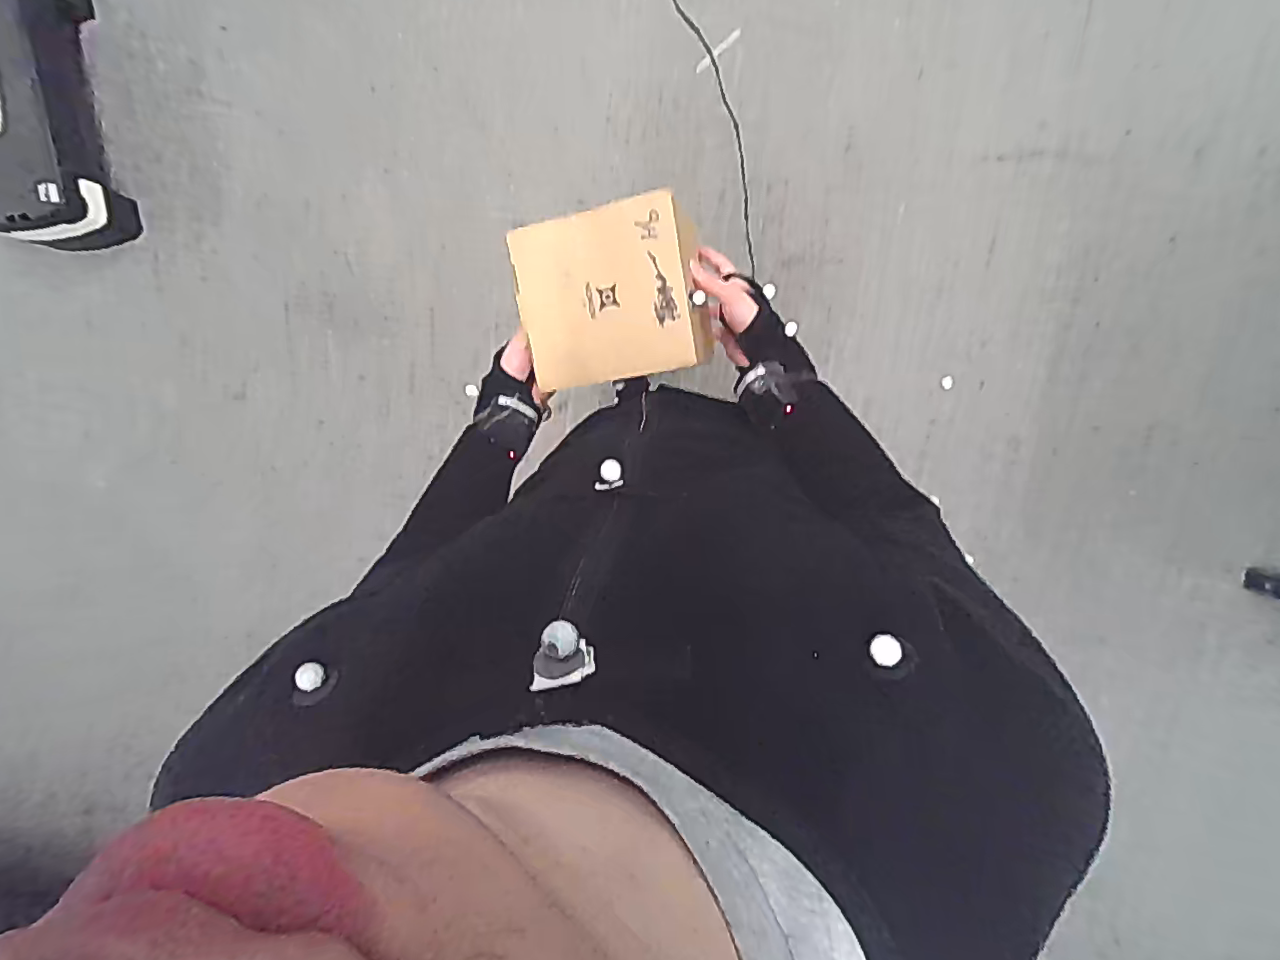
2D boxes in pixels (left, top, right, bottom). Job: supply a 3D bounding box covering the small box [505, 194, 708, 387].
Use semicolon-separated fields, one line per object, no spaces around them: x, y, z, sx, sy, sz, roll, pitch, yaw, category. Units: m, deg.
-0.026;-0.203;0.620;0.179;0.176;0.168;-5;104;16;small box
